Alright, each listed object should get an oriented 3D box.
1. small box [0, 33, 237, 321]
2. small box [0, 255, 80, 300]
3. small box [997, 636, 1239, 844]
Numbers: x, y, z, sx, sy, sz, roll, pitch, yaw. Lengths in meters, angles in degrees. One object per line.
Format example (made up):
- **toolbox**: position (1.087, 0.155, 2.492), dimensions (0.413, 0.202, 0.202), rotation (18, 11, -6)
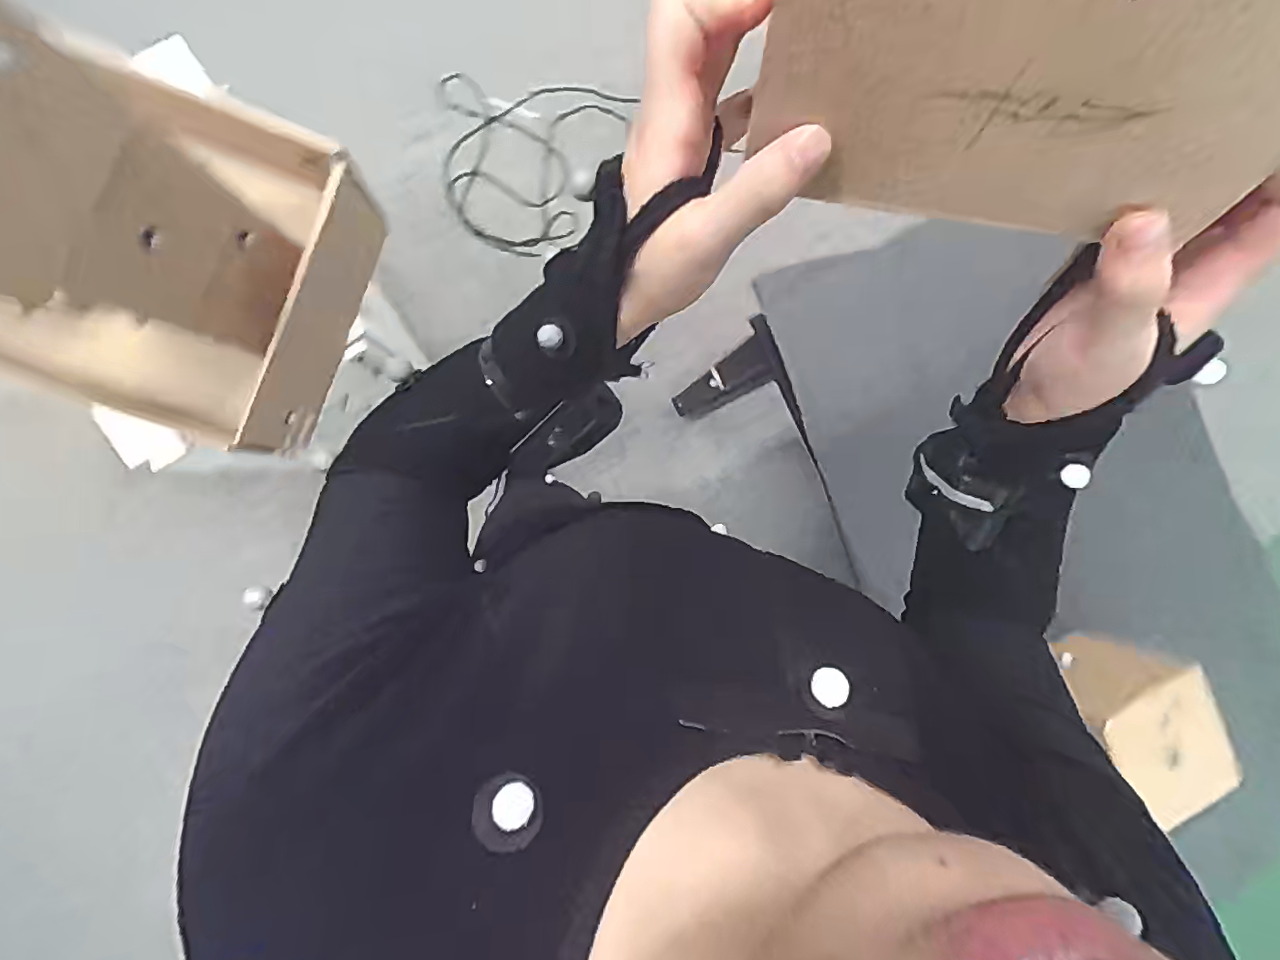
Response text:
- **small box**: position (-0.549, -0.285, 0.532), dimensions (0.168, 0.176, 0.179), rotation (22, 89, -5)
- **small box**: position (-0.826, -0.336, 0.661), dimensions (0.179, 0.176, 0.168), rotation (11, 89, -9)
- **small box**: position (0.658, 0.349, 0.763), dimensions (0.168, 0.176, 0.179), rotation (-22, 92, -9)
